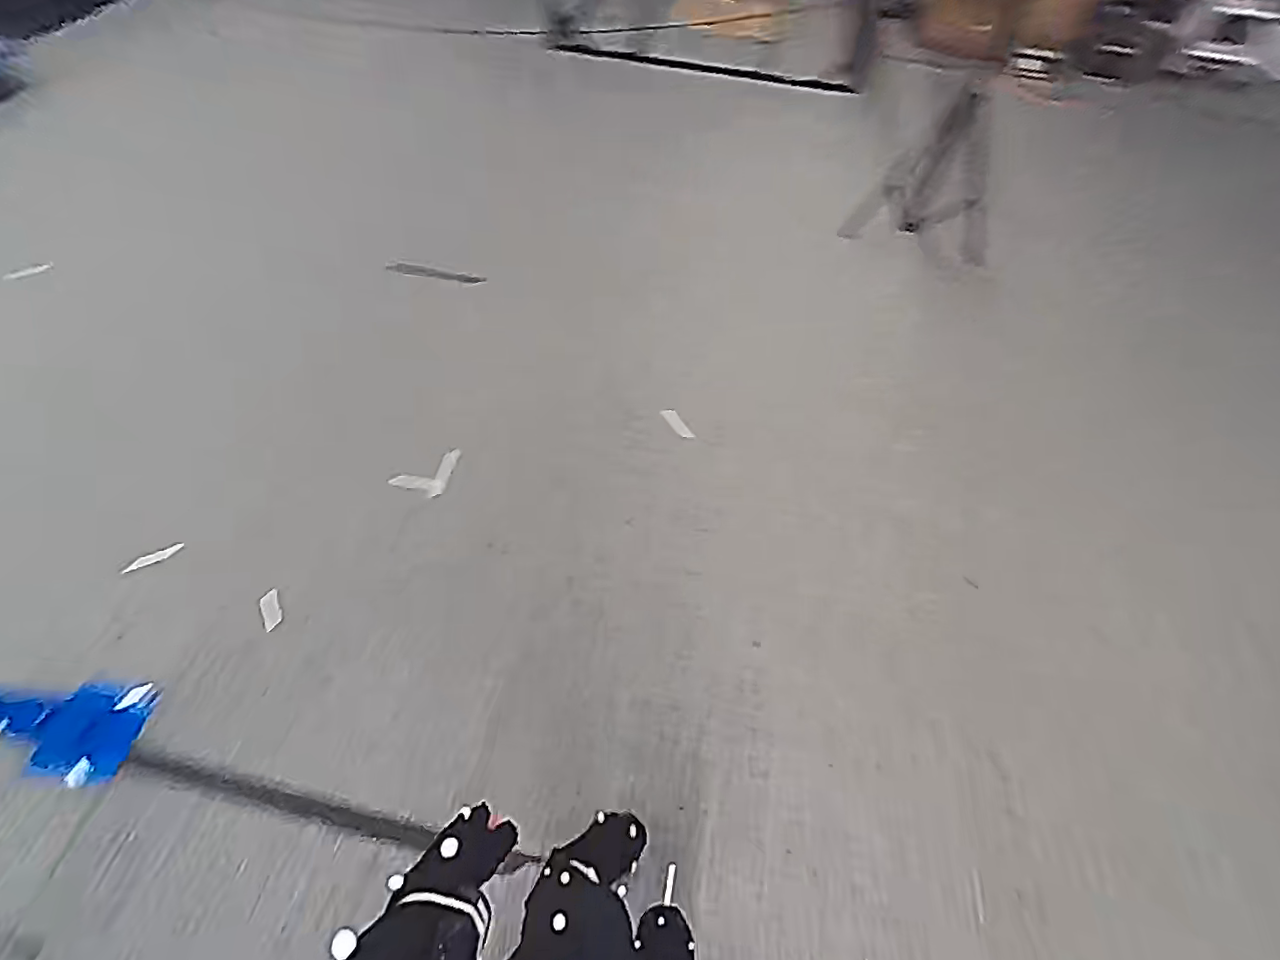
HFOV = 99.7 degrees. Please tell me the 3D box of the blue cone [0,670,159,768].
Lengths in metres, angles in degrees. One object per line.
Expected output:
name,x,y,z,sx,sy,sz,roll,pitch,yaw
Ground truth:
blue cone,-1.262,0.473,1.138,0.193,0.380,0.192,10,55,2
